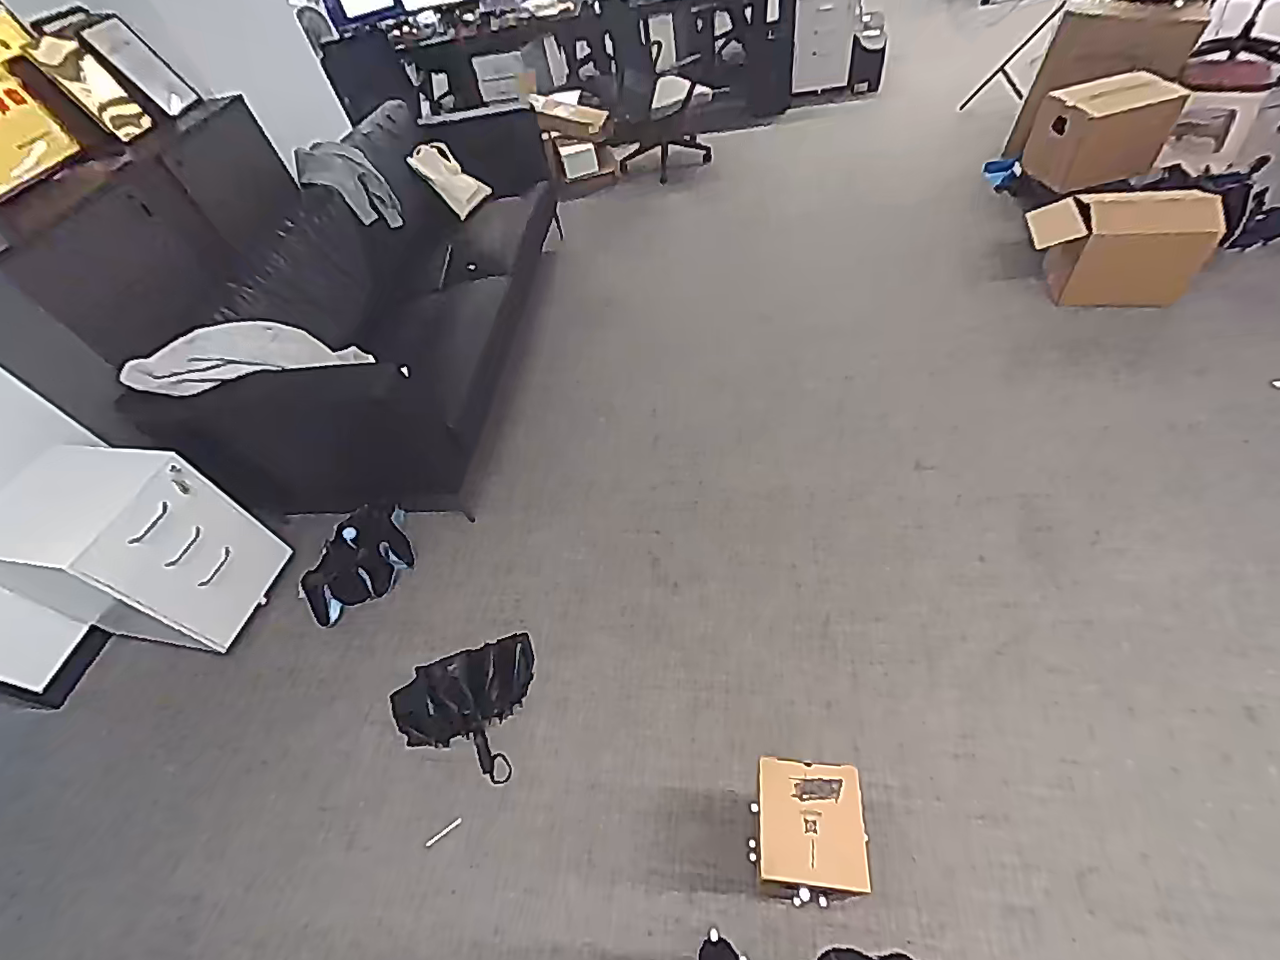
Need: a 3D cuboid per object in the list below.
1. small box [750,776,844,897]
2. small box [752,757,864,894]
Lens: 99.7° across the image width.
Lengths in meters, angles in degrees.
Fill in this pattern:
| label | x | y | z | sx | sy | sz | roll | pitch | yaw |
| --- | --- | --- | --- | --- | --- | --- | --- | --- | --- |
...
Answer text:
| label | x | y | z | sx | sy | sz | roll | pitch | yaw |
| --- | --- | --- | --- | --- | --- | --- | --- | --- | --- |
| small box | 0.307 | 0.713 | 1.079 | 0.168 | 0.176 | 0.179 | 0 | 50 | 10 |
| small box | 0.285 | 0.609 | 0.953 | 0.168 | 0.176 | 0.179 | 1 | 53 | 11 |
